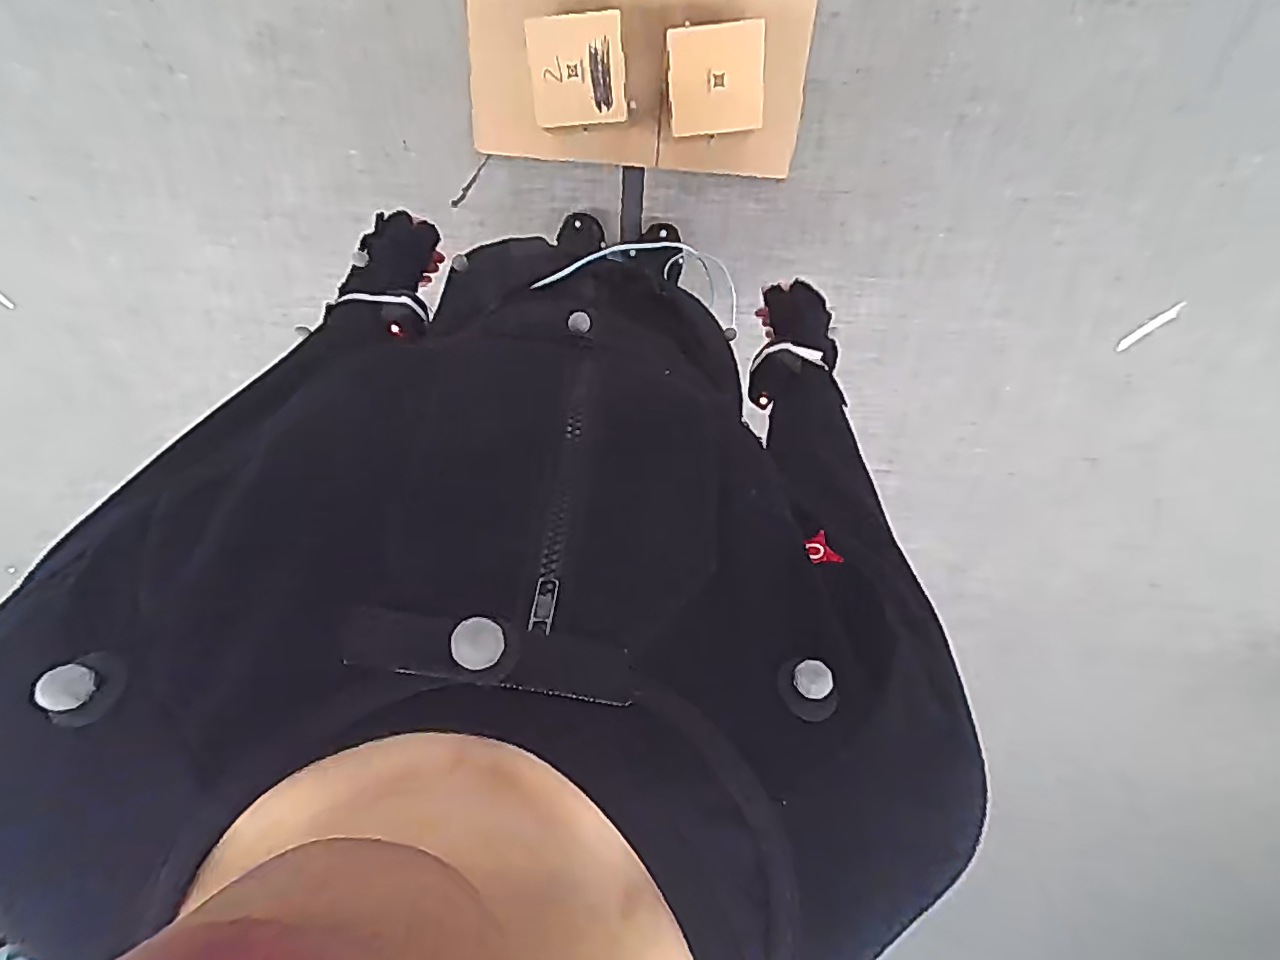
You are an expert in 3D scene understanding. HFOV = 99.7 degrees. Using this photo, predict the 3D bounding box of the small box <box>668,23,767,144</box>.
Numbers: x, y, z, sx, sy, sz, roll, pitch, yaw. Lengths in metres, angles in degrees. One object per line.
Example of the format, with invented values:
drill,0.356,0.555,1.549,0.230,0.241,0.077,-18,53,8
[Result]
small box,0.147,-0.776,1.072,0.179,0.176,0.168,-3,117,4
